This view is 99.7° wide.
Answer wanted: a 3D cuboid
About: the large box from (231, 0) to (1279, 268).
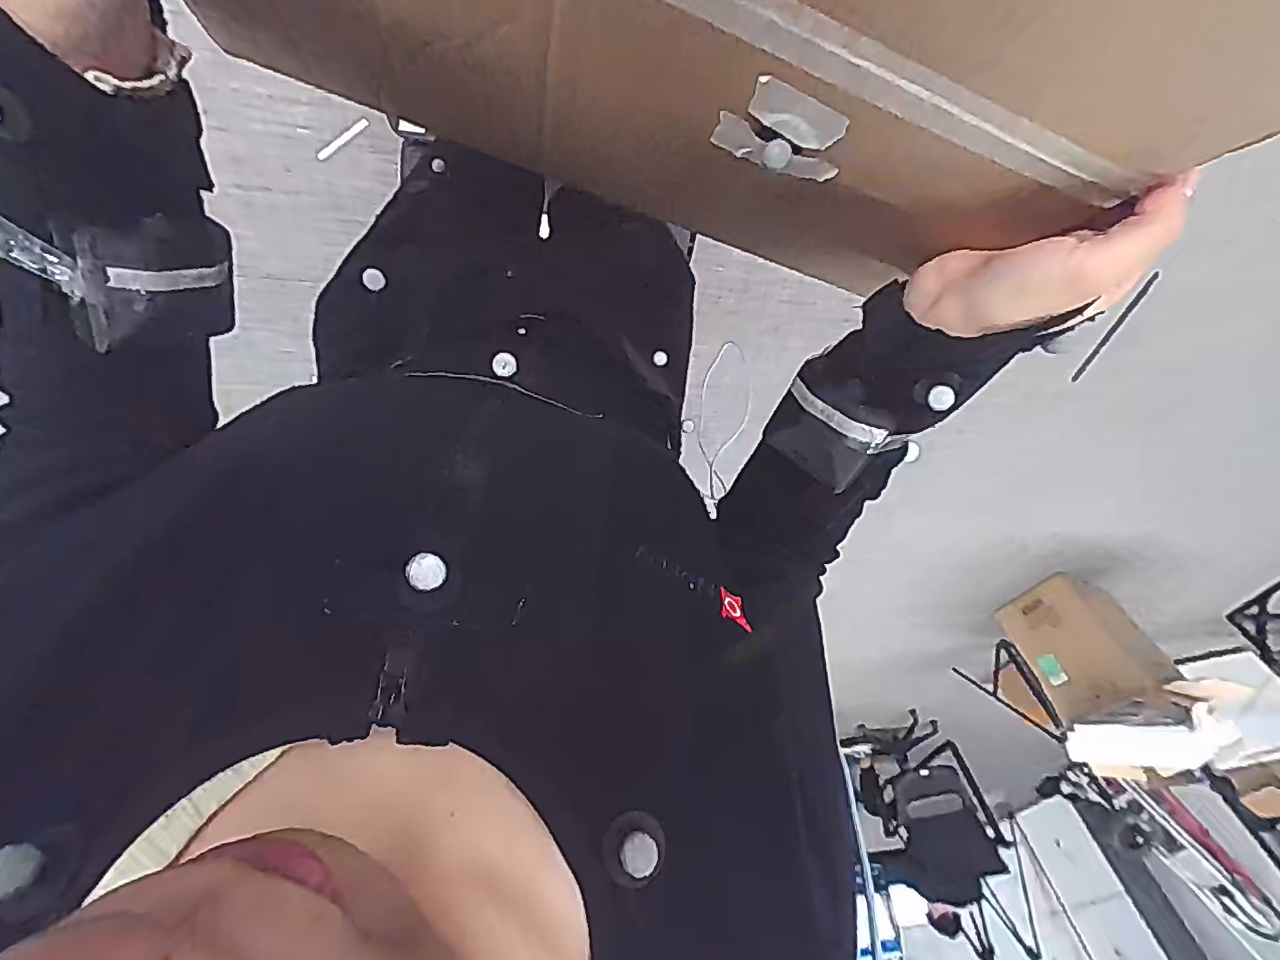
[{"bbox_3d":[0.061,-0.321,0.153,0.408,0.320,0.320,14,89,-13],"label":"large box"}]
